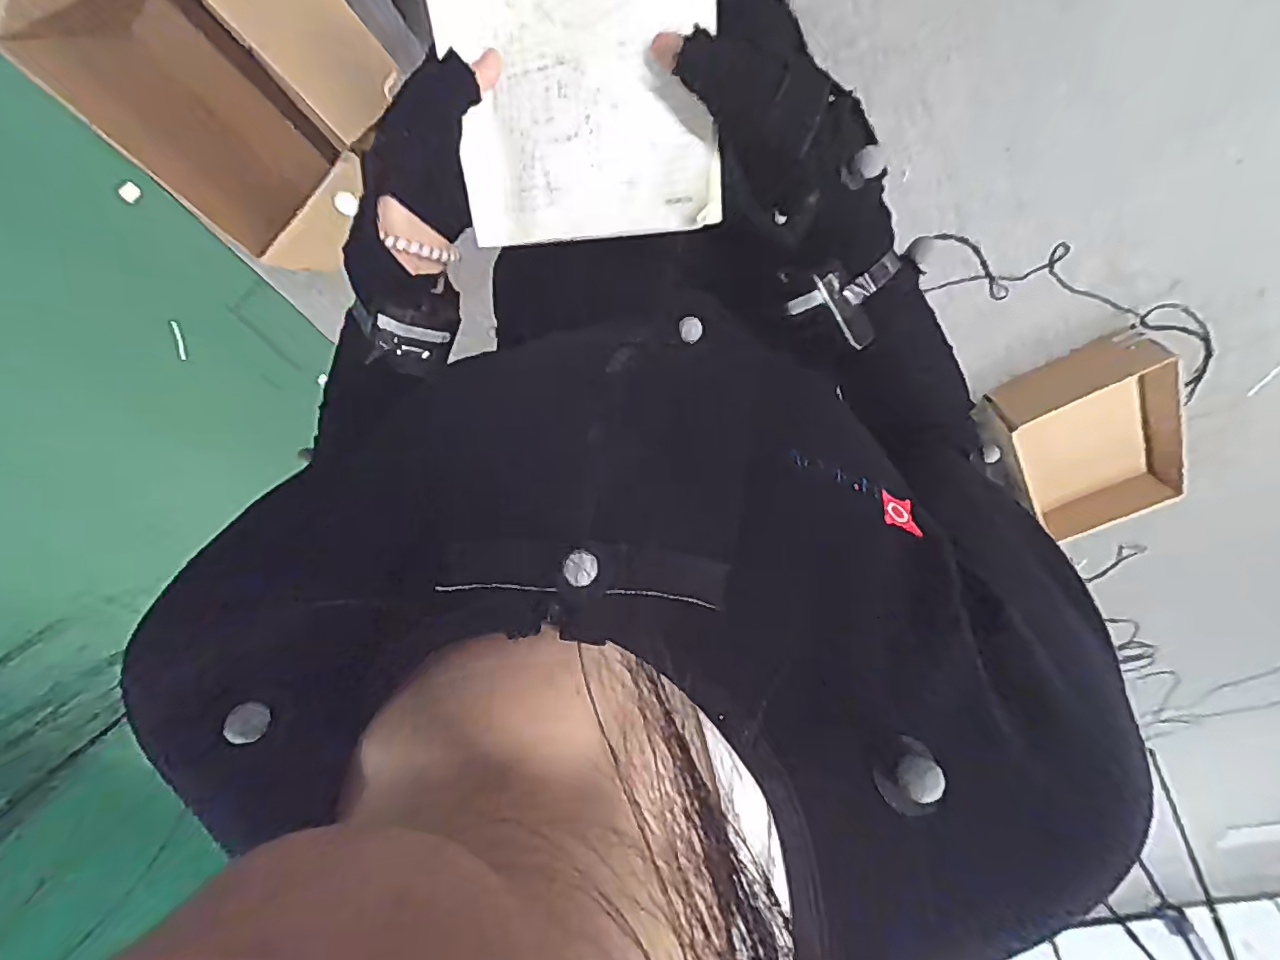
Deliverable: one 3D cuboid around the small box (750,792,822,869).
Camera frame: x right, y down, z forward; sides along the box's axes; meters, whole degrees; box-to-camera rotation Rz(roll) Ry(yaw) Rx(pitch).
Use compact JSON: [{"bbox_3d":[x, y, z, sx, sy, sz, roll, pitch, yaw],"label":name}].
[{"bbox_3d":[0.478,1.153,1.778,0.168,0.176,0.179,-24,127,17],"label":"small box"}]
